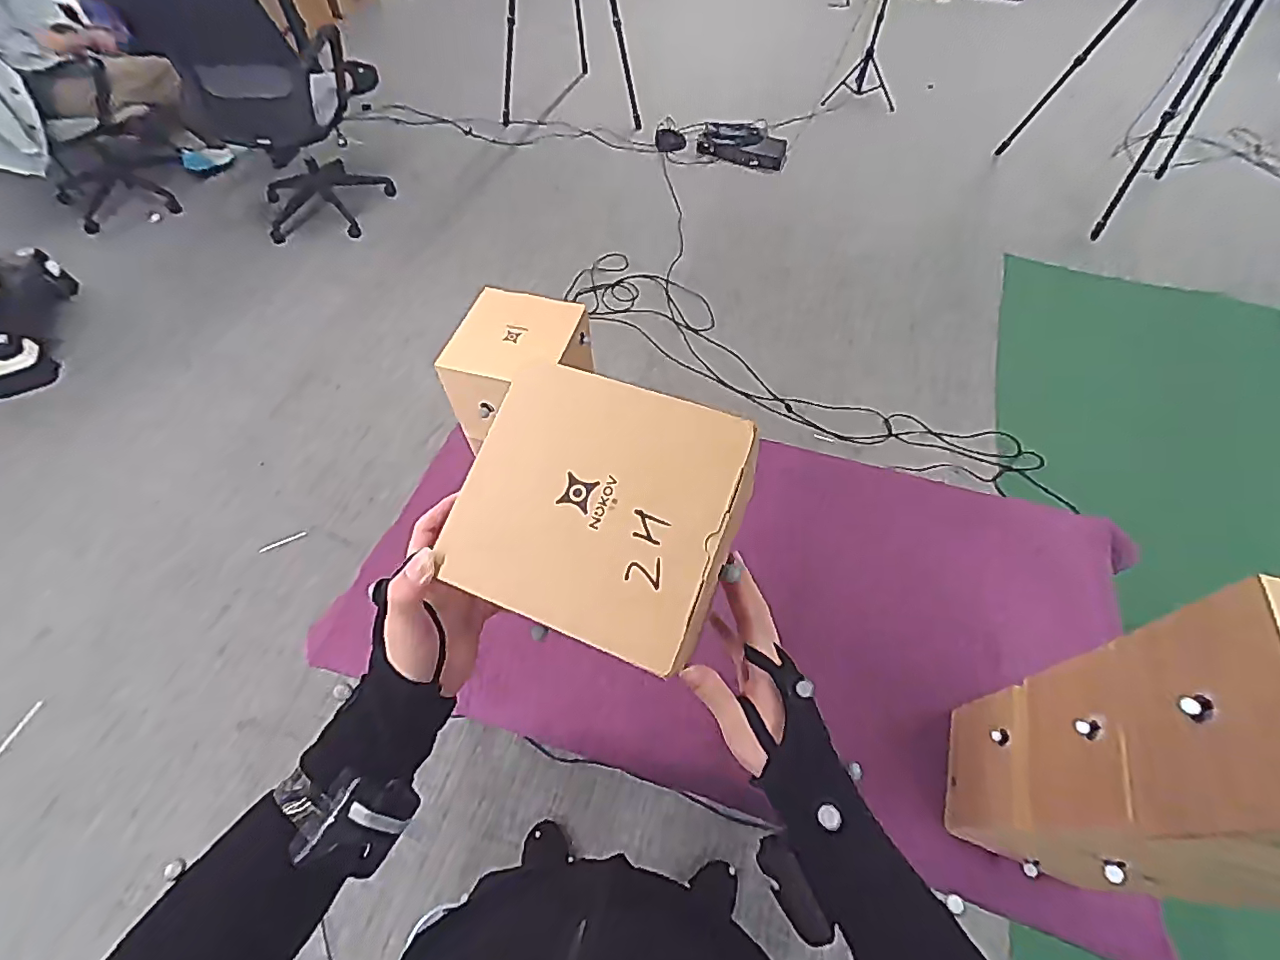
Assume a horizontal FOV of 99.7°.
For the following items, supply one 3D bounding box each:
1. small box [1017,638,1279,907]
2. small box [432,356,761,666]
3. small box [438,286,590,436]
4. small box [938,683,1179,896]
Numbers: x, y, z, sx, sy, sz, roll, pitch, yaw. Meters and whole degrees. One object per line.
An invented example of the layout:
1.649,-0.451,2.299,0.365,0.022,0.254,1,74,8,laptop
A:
0.516,0.293,0.550,0.168,0.176,0.179,18,59,13,small box
-0.018,0.032,0.427,0.179,0.176,0.168,20,79,14,small box
-0.179,-0.167,0.842,0.168,0.176,0.179,13,58,8,small box
0.513,0.384,0.684,0.179,0.176,0.168,19,58,12,small box
